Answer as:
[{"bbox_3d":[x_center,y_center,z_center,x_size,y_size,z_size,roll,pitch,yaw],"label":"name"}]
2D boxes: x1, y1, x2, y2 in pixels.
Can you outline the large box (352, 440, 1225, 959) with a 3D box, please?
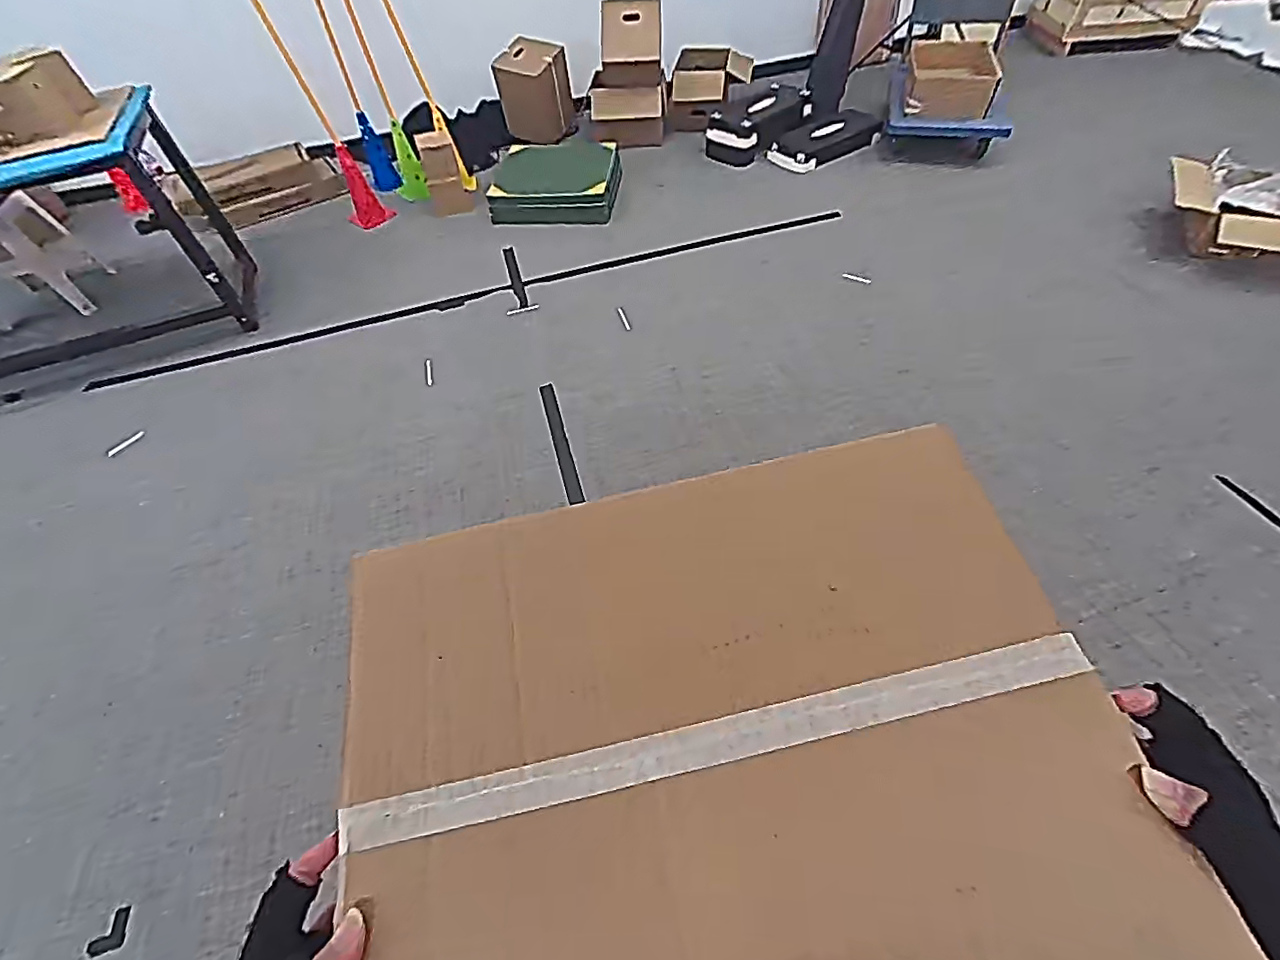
[{"bbox_3d":[0.055,0.215,0.431,0.408,0.320,0.320,-13,60,-1],"label":"large box"}]
